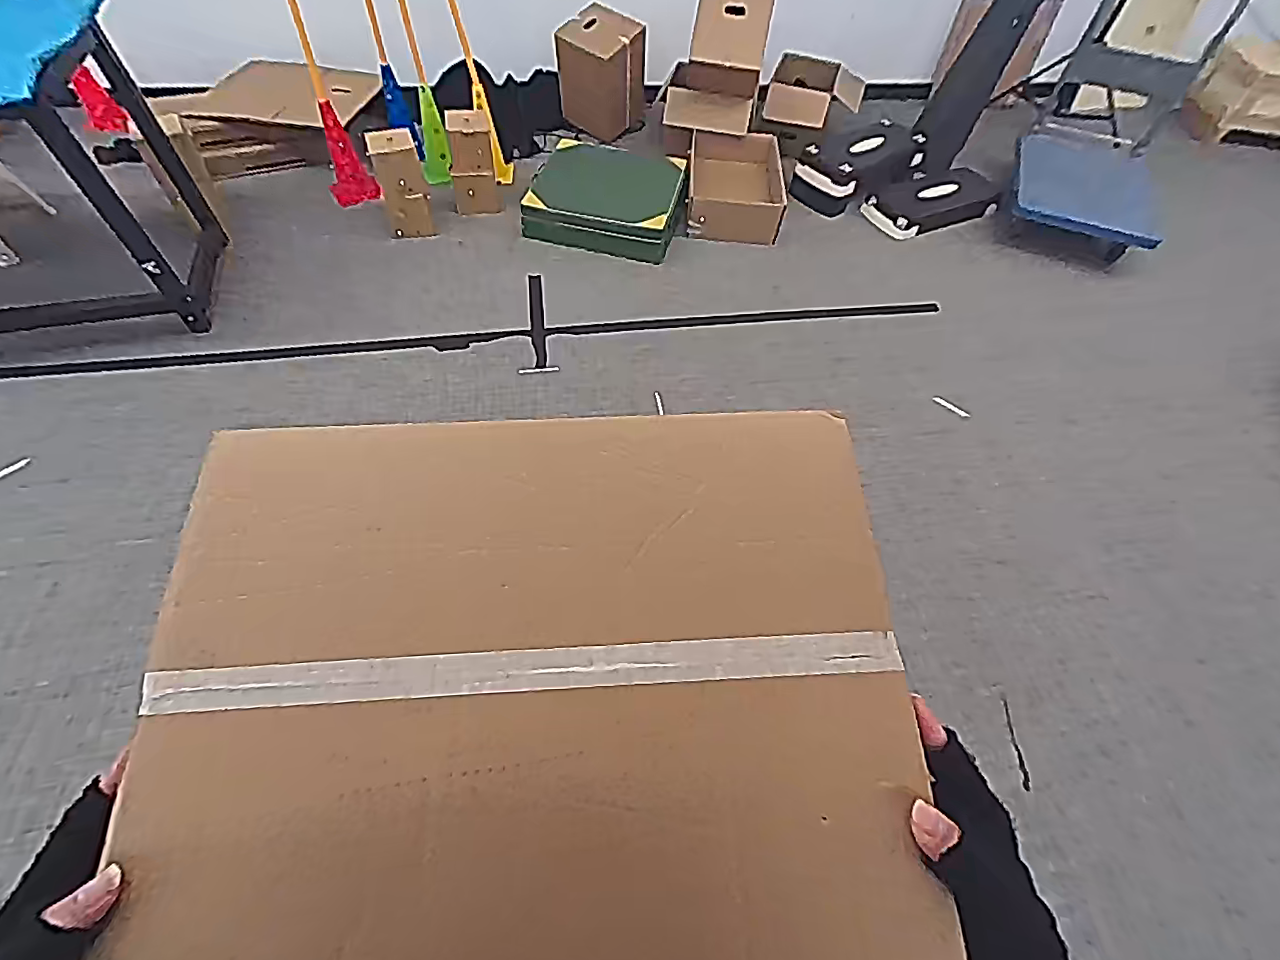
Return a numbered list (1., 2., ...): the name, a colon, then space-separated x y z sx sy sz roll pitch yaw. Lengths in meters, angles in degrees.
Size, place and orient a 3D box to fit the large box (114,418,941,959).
1. large box: -0.062 0.165 0.448 0.408 0.320 0.320 -2 68 -2
